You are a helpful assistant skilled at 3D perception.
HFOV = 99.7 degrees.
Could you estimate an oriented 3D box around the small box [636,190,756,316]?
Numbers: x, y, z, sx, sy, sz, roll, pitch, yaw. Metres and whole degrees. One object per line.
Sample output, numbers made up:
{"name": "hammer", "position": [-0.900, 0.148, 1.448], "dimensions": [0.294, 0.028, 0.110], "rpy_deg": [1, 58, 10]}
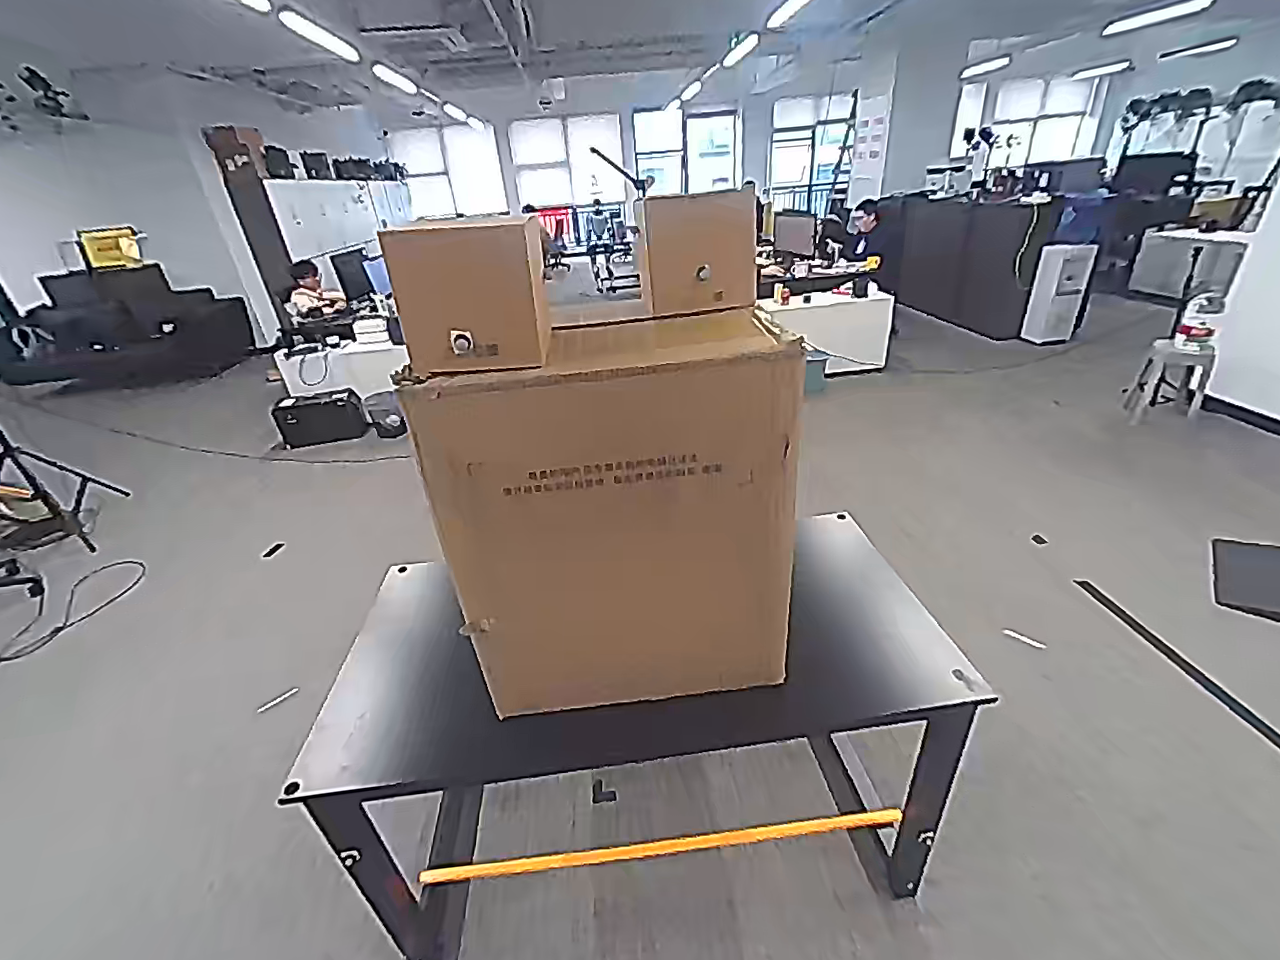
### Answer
{"name": "small box", "position": [0.087, -0.371, 0.889], "dimensions": [0.168, 0.176, 0.179], "rpy_deg": [-8, 27, -2]}

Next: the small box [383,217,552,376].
{"name": "small box", "position": [-0.210, -0.245, 0.714], "dimensions": [0.168, 0.176, 0.179], "rpy_deg": [-5, 31, -3]}
